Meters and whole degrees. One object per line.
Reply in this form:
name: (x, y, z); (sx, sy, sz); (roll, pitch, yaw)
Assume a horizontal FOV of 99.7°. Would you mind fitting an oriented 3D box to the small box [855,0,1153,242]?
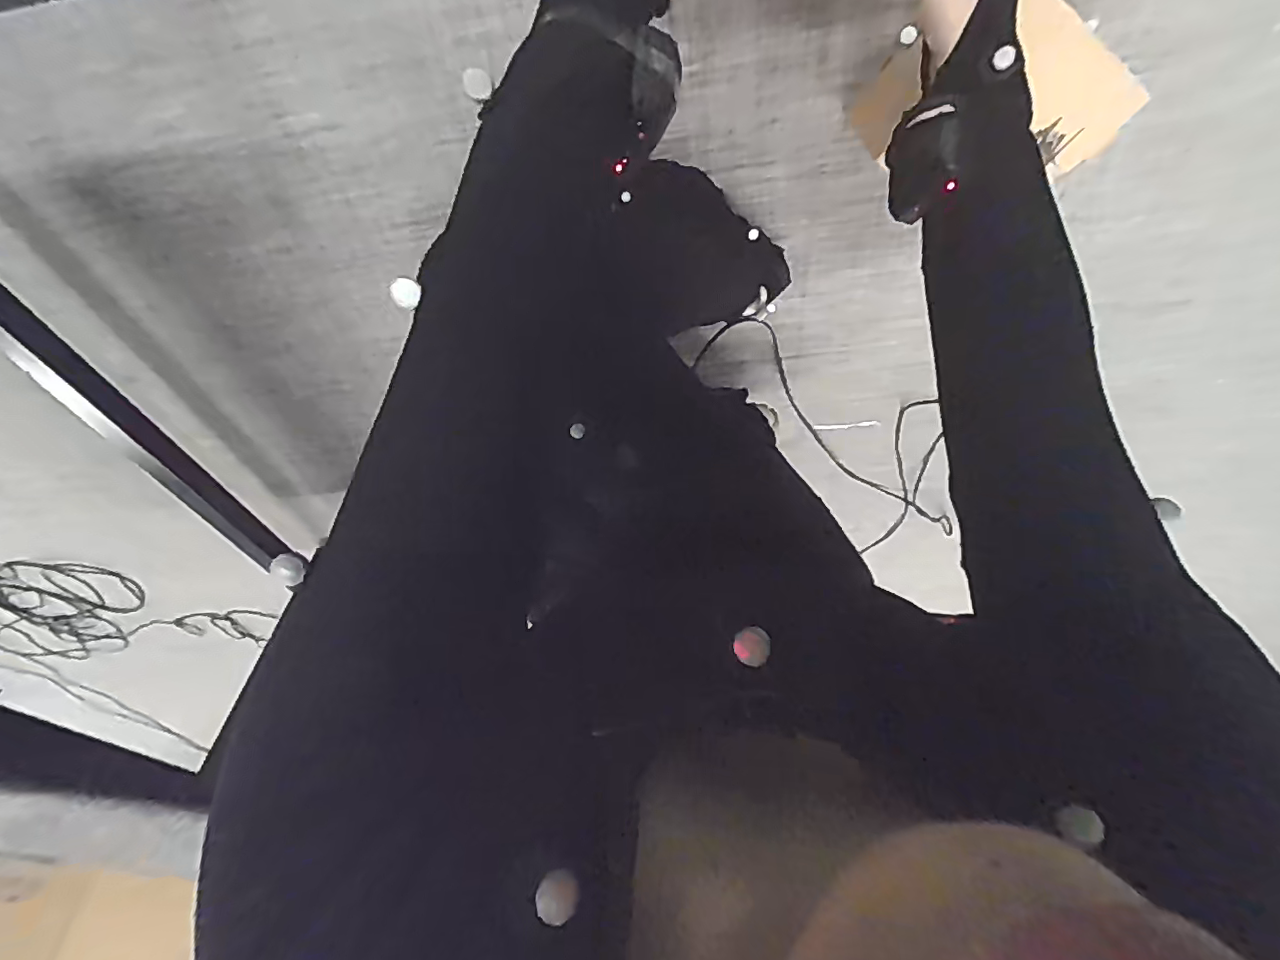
small box: (0.358, -0.396, 0.566); (0.179, 0.176, 0.168); (23, 135, -19)
